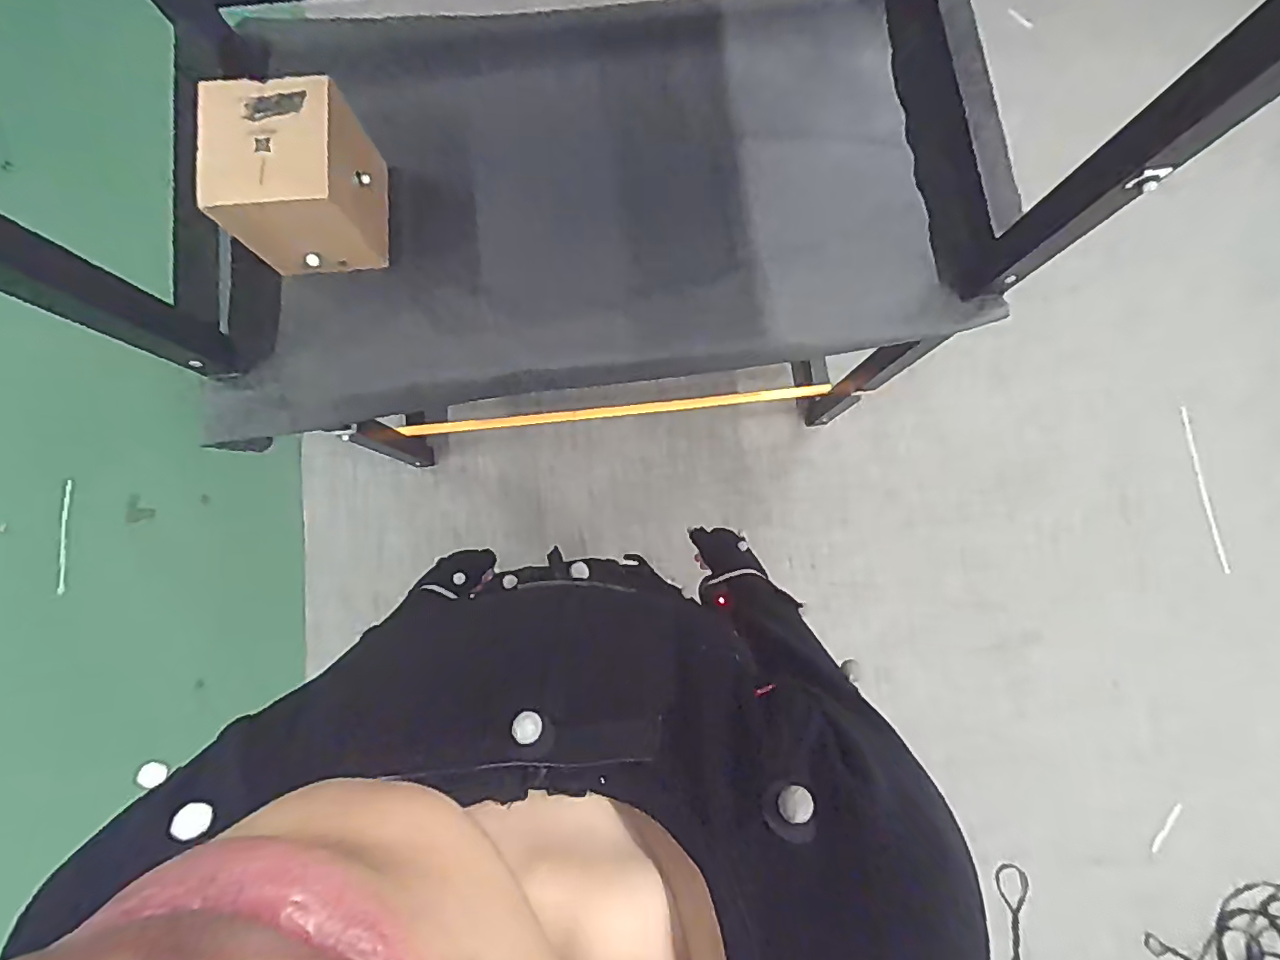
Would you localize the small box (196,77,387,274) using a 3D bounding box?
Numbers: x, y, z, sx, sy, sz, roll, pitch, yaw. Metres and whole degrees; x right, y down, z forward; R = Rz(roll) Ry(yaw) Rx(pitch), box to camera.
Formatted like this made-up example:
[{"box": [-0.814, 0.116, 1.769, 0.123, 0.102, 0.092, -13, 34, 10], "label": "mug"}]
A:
[{"box": [-0.473, -0.416, 0.759, 0.168, 0.176, 0.179, -5, 83, -1], "label": "small box"}]
